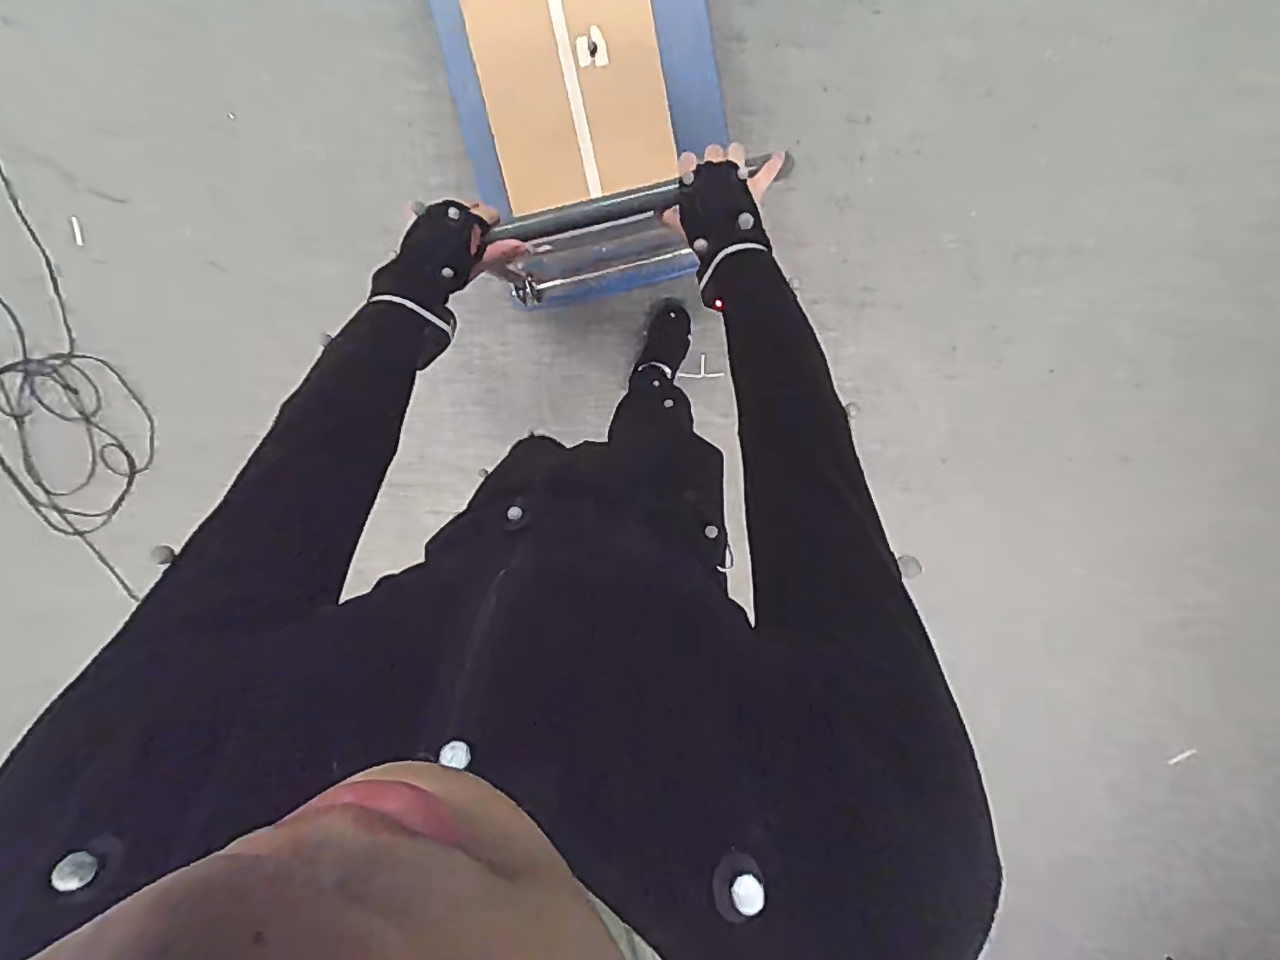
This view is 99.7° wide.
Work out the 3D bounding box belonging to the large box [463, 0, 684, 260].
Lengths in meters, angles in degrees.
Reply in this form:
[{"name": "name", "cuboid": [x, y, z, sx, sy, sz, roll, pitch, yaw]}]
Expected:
[{"name": "large box", "cuboid": [-0.103, -0.705, 1.094, 0.320, 0.320, 0.408, -11, 104, 5]}]
